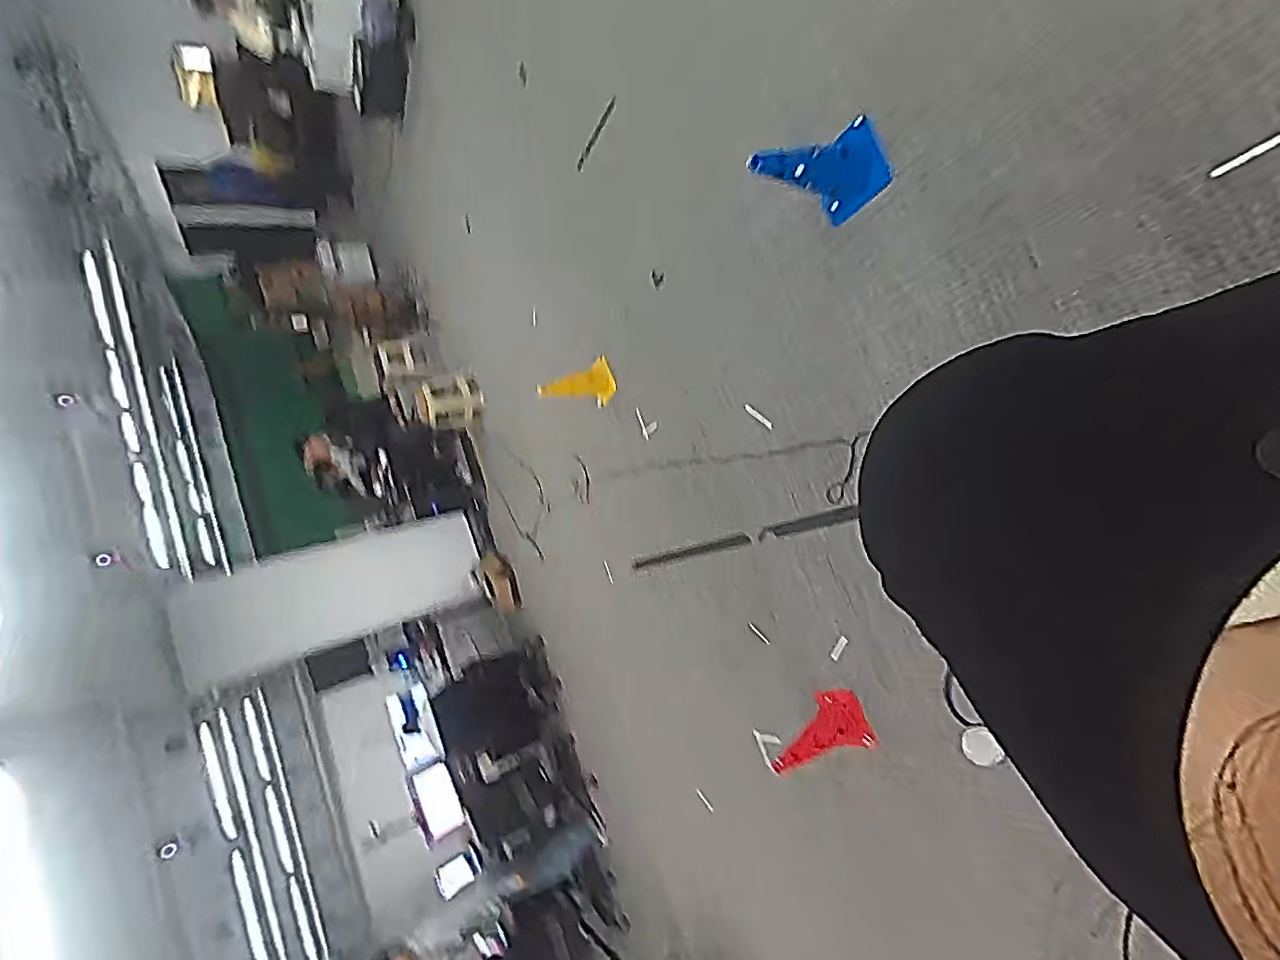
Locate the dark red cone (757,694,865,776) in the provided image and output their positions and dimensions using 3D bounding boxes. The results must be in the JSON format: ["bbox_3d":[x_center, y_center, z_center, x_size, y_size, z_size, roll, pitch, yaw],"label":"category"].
[{"bbox_3d":[0.550,0.889,1.823,0.202,0.394,0.201,-42,67,56],"label":"dark red cone"}]

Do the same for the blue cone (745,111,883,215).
[{"bbox_3d":[0.412,-0.802,1.356,0.193,0.380,0.192,-27,79,58],"label":"blue cone"}]
